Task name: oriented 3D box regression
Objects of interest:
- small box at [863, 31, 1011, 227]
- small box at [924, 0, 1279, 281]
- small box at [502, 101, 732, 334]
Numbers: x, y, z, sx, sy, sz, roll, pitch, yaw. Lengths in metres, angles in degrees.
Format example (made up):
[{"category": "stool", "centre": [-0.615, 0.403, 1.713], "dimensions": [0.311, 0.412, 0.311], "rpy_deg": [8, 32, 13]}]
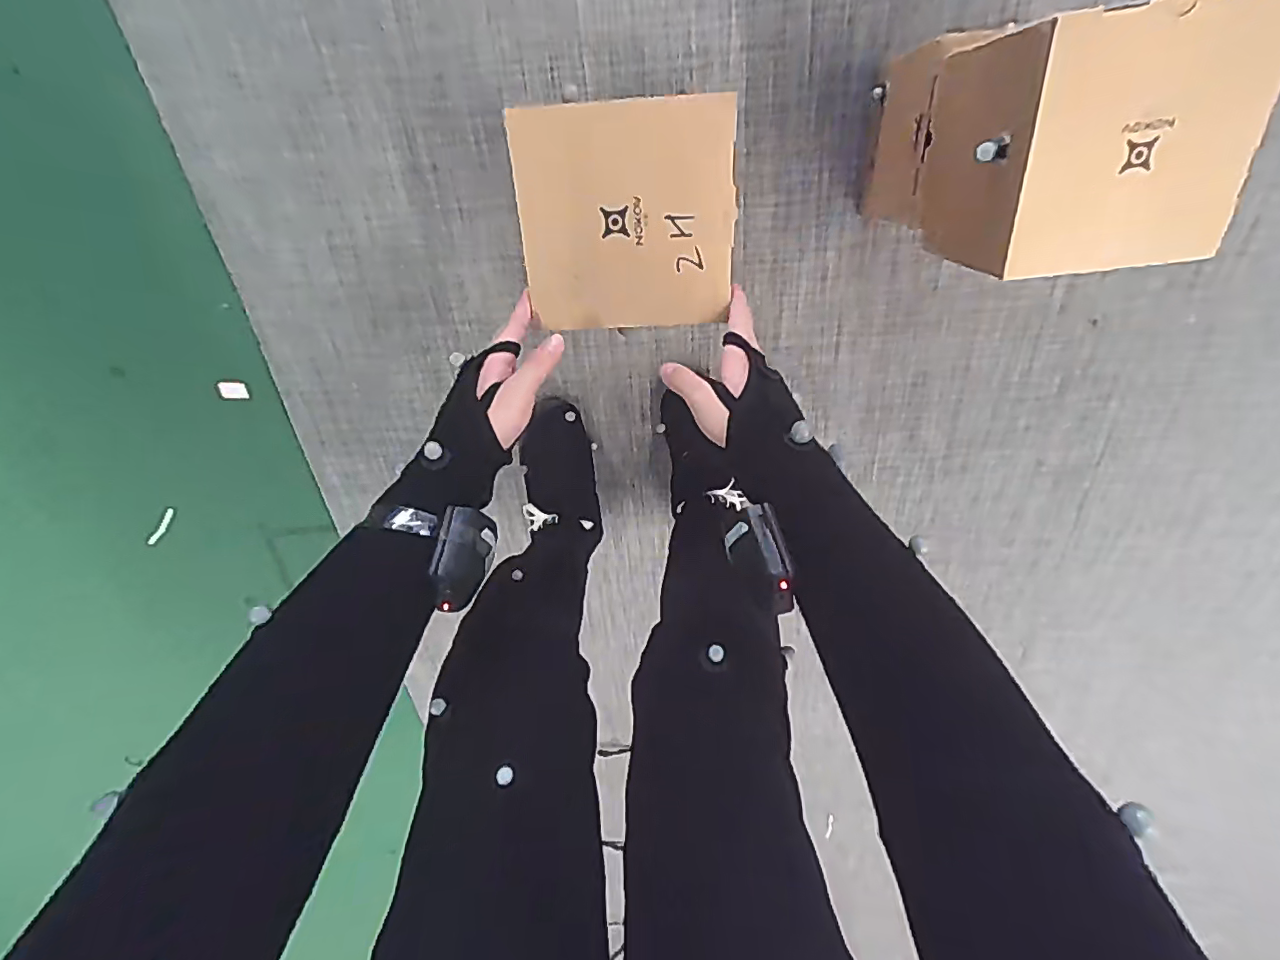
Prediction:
[{"category": "small box", "centre": [0.369, -0.380, 0.604], "dimensions": [0.179, 0.176, 0.168], "rpy_deg": [-2, 120, 3]}, {"category": "small box", "centre": [0.369, -0.287, 0.471], "dimensions": [0.168, 0.176, 0.179], "rpy_deg": [-5, 119, 6]}, {"category": "small box", "centre": [-0.011, -0.236, 0.507], "dimensions": [0.179, 0.176, 0.168], "rpy_deg": [-2, 115, 3]}]
